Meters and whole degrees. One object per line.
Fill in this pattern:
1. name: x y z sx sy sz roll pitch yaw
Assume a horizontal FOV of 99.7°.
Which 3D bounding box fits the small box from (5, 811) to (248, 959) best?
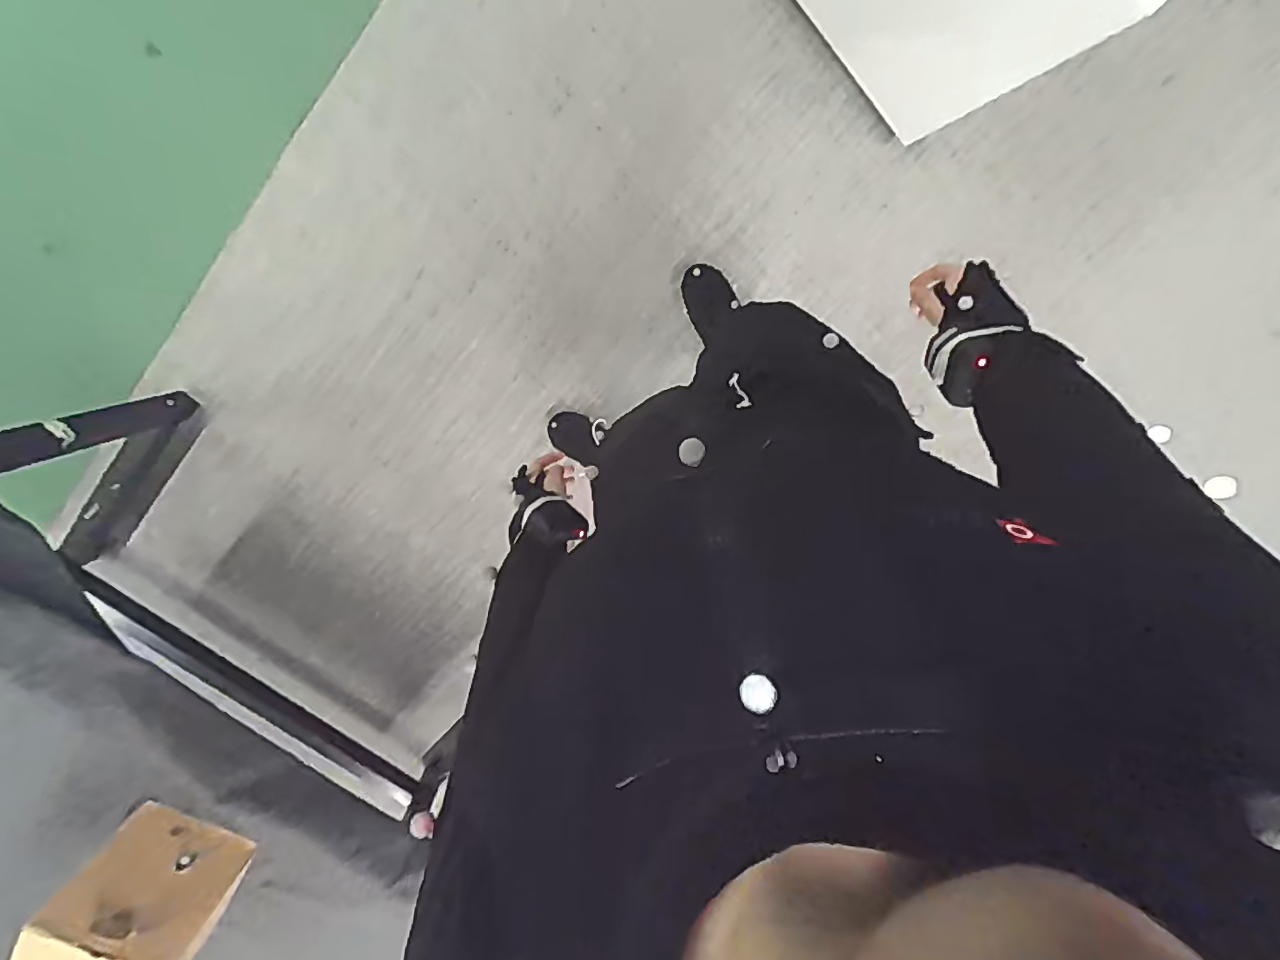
1. small box: -0.665 0.587 0.708 0.168 0.176 0.179 31 106 -10
